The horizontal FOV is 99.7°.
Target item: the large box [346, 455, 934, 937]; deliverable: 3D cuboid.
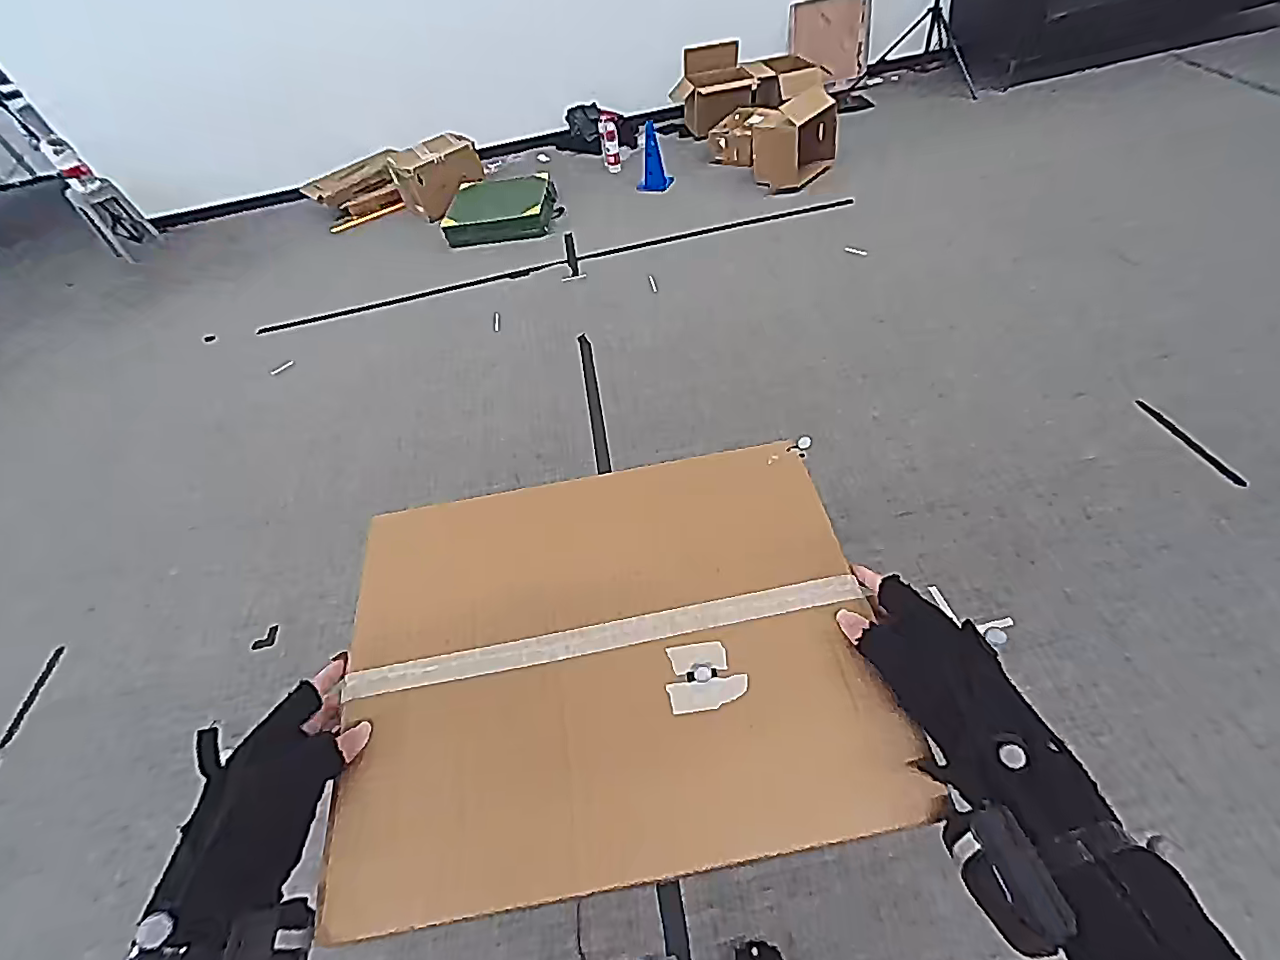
[{"bbox_3d":[-0.010,0.220,0.558,0.408,0.320,0.320,-10,55,-2],"label":"large box"}]
